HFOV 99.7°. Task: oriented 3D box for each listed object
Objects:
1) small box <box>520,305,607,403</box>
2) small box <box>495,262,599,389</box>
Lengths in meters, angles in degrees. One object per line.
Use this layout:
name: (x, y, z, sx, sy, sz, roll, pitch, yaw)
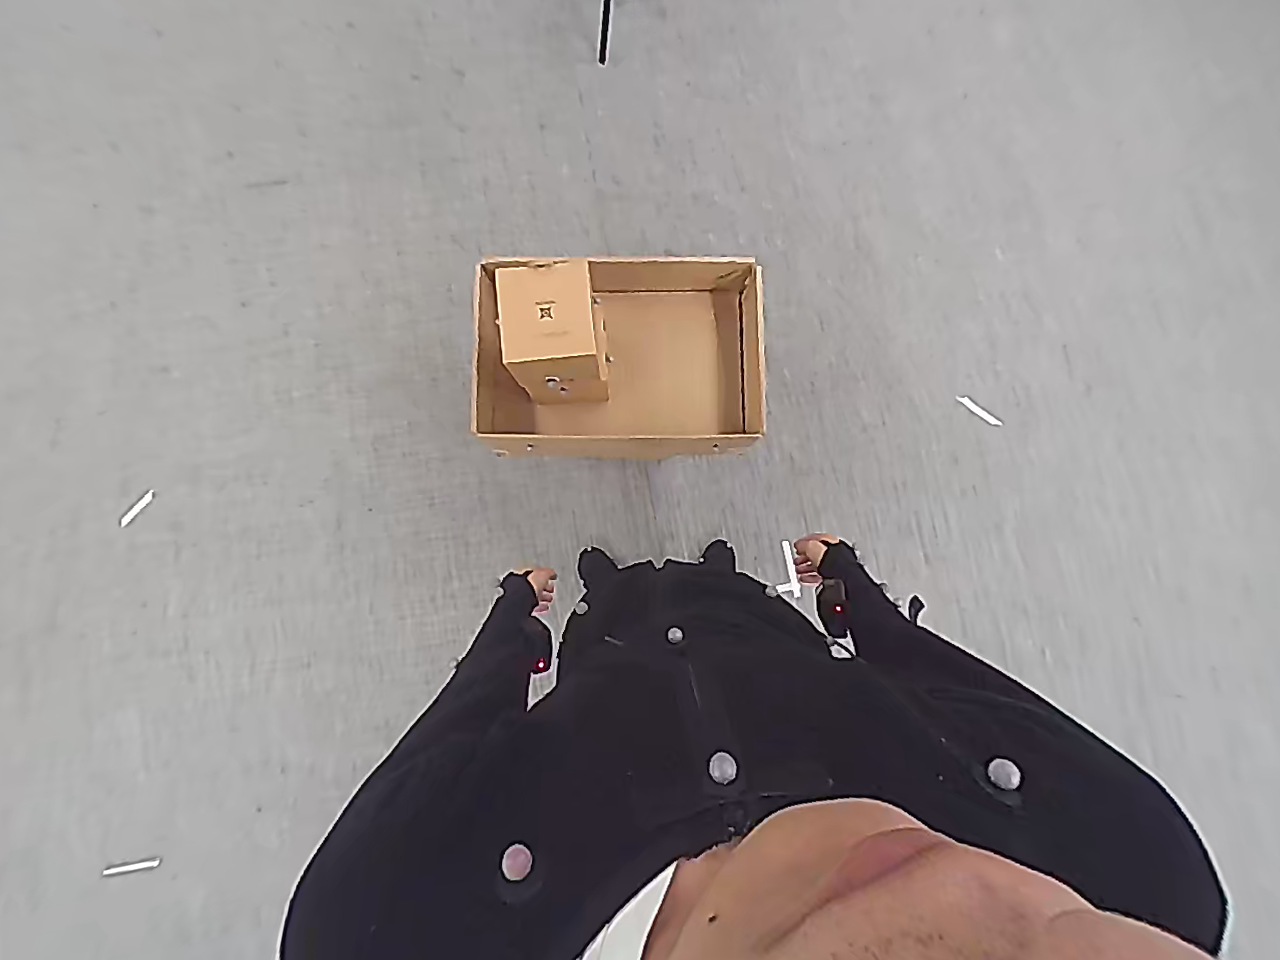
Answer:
small box: (-0.165, -0.269, 1.190, 0.179, 0.176, 0.168, -4, 85, -3)
small box: (-0.170, -0.286, 1.027, 0.168, 0.176, 0.179, -6, 84, -2)
